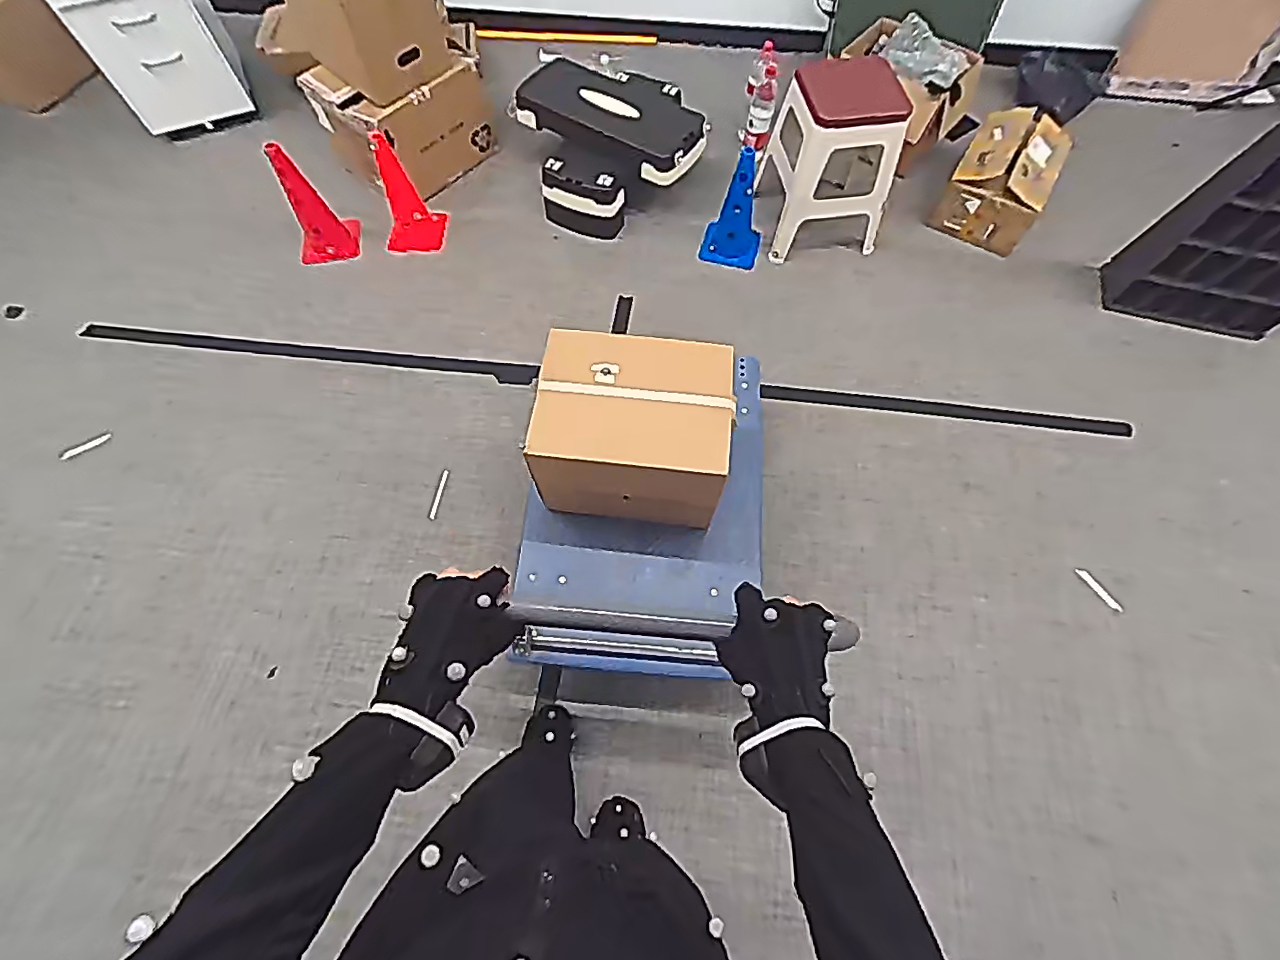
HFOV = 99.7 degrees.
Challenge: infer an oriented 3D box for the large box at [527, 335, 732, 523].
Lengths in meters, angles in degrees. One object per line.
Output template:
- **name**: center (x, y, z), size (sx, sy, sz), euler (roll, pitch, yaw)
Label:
- **large box**: center (-0.010, -0.103, 1.254), size (0.408, 0.320, 0.320), euler (6, 66, 3)
